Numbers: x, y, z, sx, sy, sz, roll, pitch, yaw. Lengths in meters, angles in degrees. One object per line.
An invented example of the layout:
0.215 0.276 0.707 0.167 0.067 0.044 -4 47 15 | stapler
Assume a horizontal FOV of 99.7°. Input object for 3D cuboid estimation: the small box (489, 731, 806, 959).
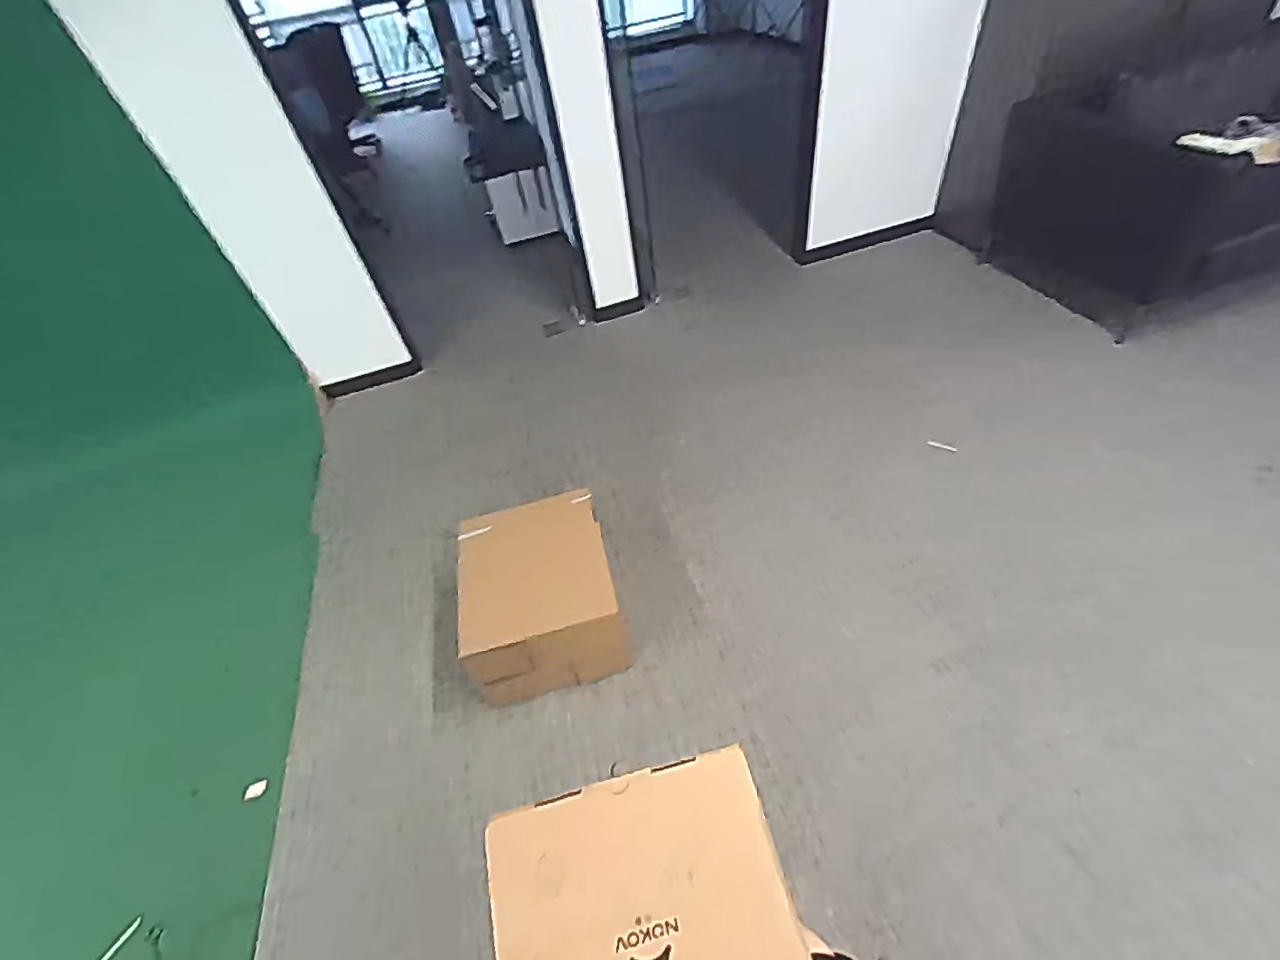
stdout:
0.005 0.294 0.366 0.168 0.176 0.179 -13 58 -7 | small box
